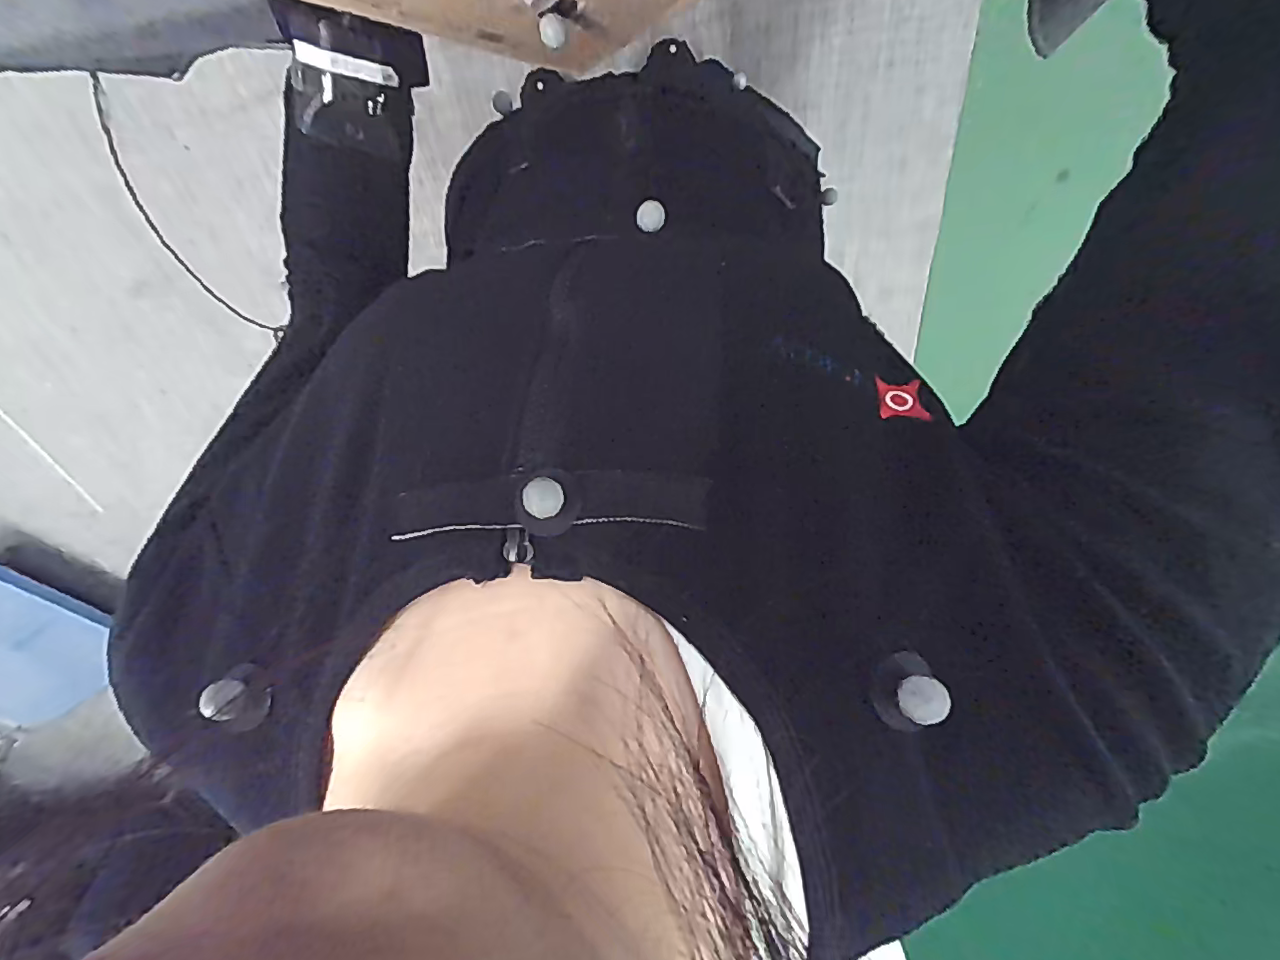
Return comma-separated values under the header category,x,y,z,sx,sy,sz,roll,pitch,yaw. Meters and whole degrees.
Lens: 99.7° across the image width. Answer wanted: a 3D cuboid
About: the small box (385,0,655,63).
category,x,y,z,sx,sy,sz,roll,pitch,yaw
small box,-0.058,-0.285,0.189,0.168,0.176,0.179,-4,113,-28
